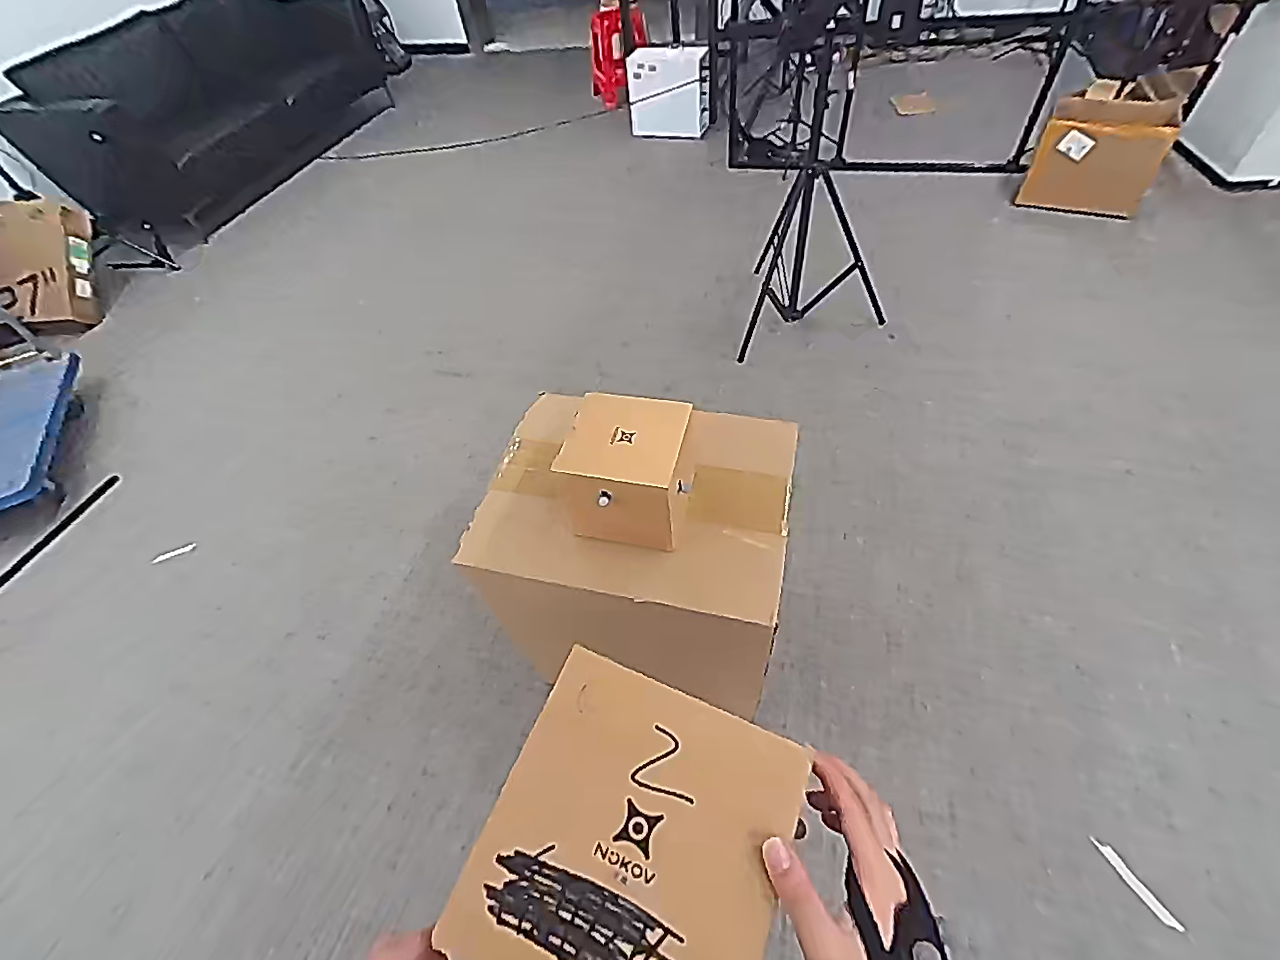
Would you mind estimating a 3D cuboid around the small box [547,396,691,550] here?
[{"bbox_3d":[-0.020,-0.007,0.851,0.179,0.176,0.168,8,54,14],"label":"small box"}]
